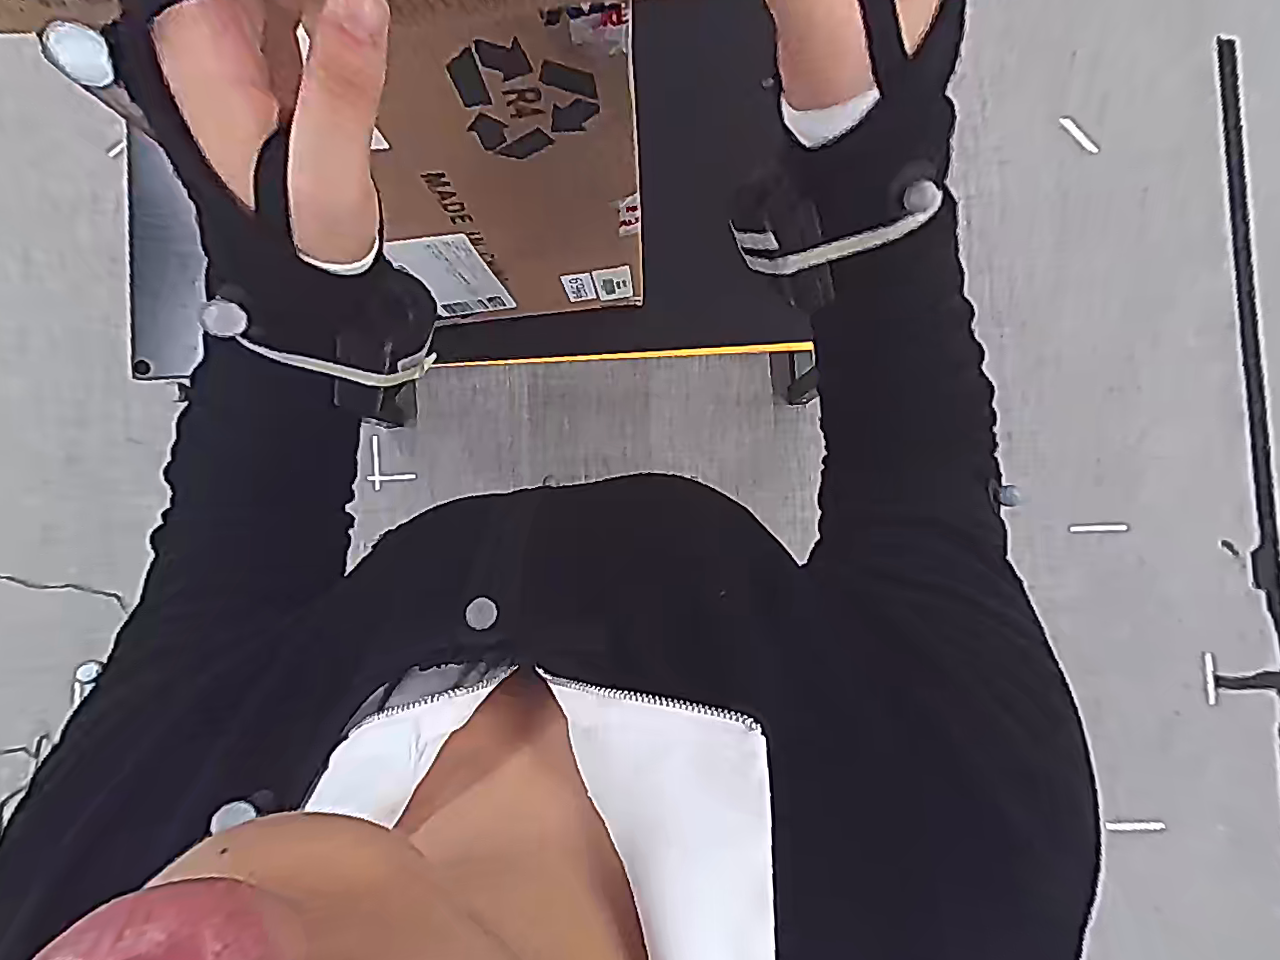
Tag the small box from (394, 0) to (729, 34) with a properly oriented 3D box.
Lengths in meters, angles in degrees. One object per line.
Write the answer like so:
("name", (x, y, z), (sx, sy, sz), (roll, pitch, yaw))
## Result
("small box", (-0.031, -0.255, 0.126), (0.168, 0.176, 0.179), (-7, 108, 0))
